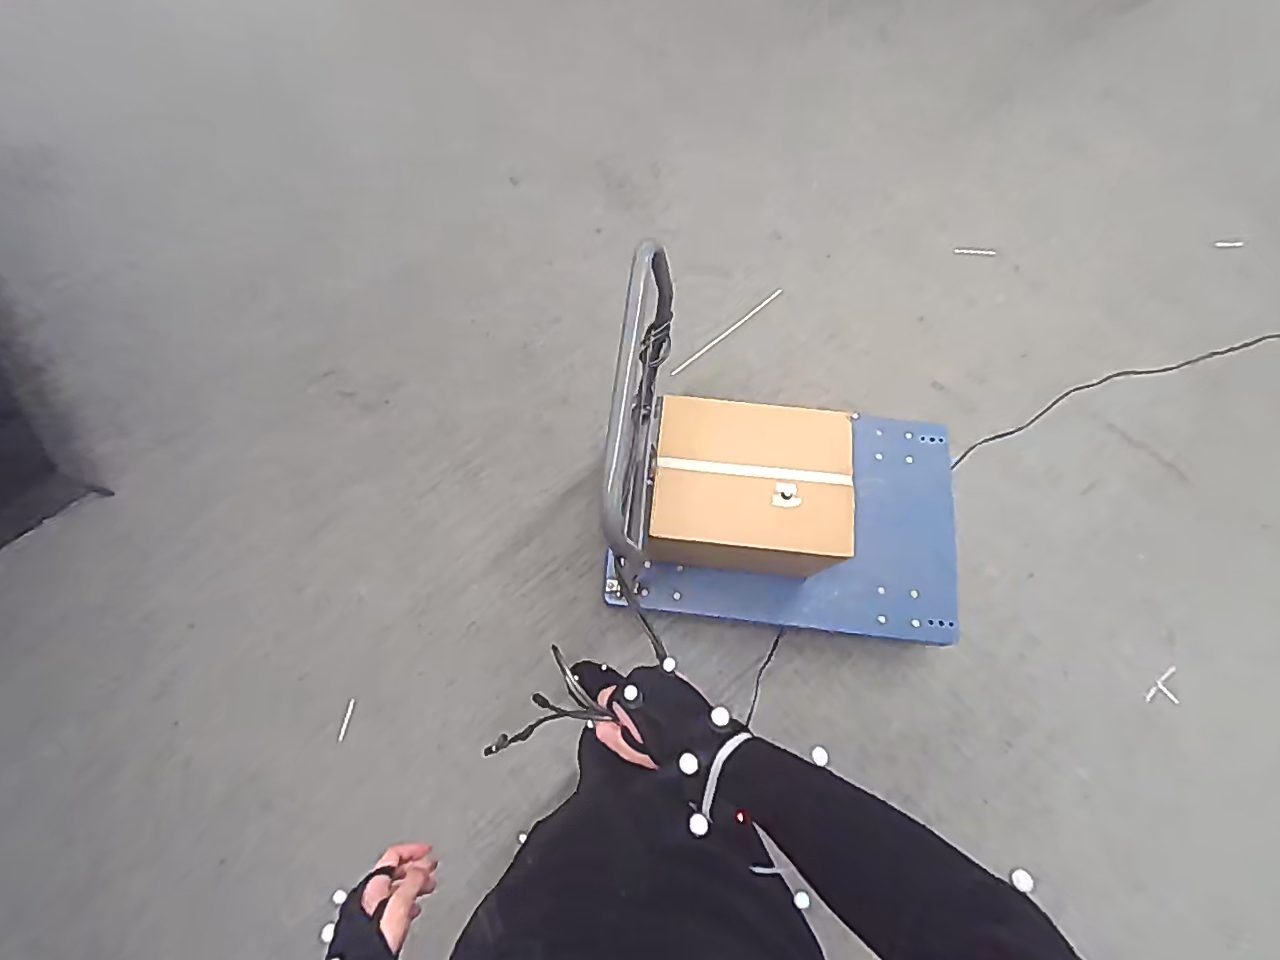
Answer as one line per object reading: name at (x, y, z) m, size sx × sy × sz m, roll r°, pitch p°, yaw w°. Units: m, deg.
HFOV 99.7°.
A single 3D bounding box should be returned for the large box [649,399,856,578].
large box at (0.234, 0.034, 1.238) m, size 0.408 × 0.320 × 0.320 m, roll 6°, pitch 73°, yaw 1°
